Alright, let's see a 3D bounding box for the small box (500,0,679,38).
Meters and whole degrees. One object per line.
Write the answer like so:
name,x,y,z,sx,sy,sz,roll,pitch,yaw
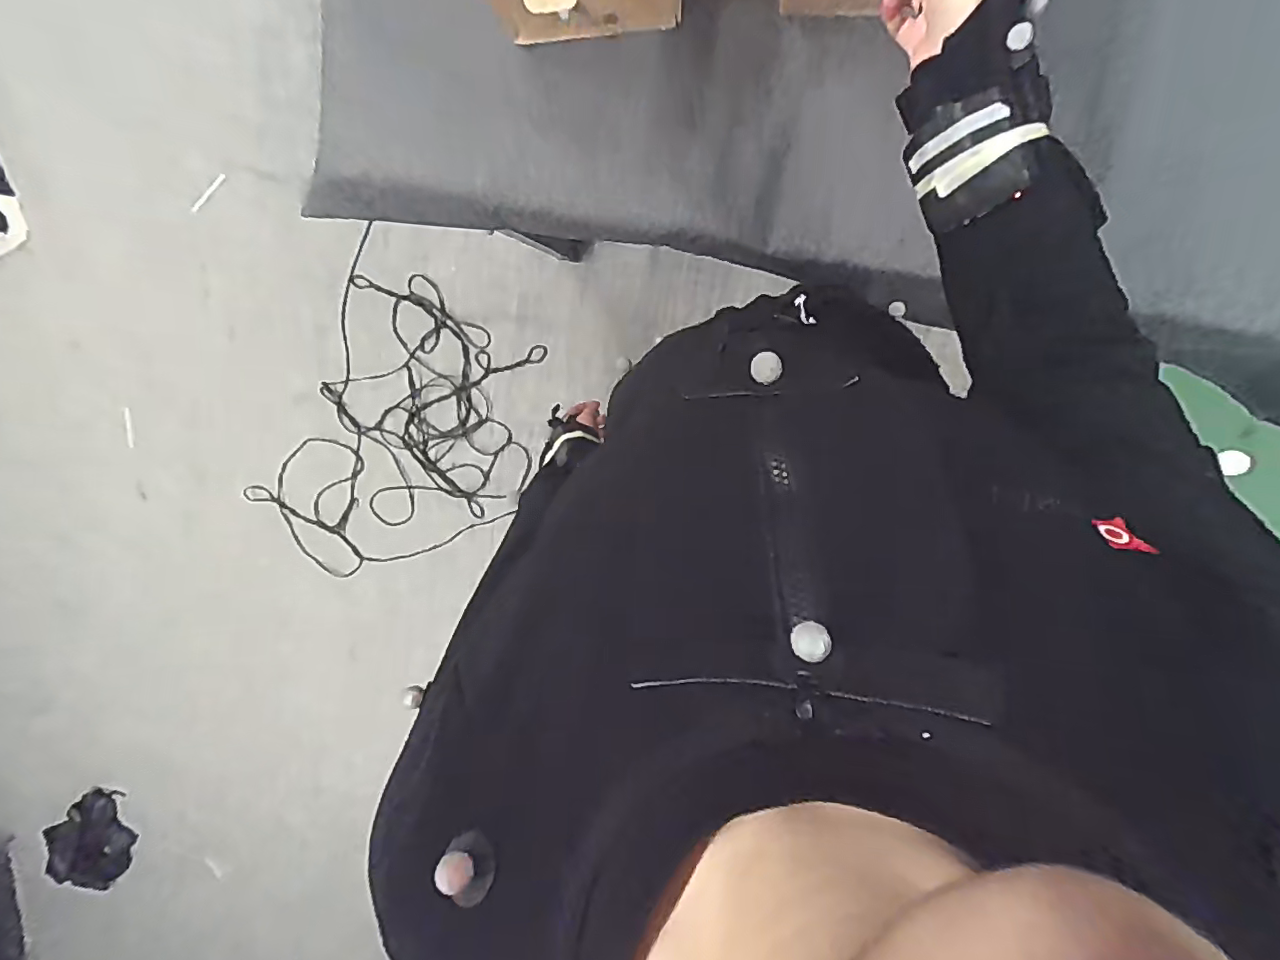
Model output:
small box,-0.056,-0.496,0.422,0.168,0.176,0.179,2,104,9
